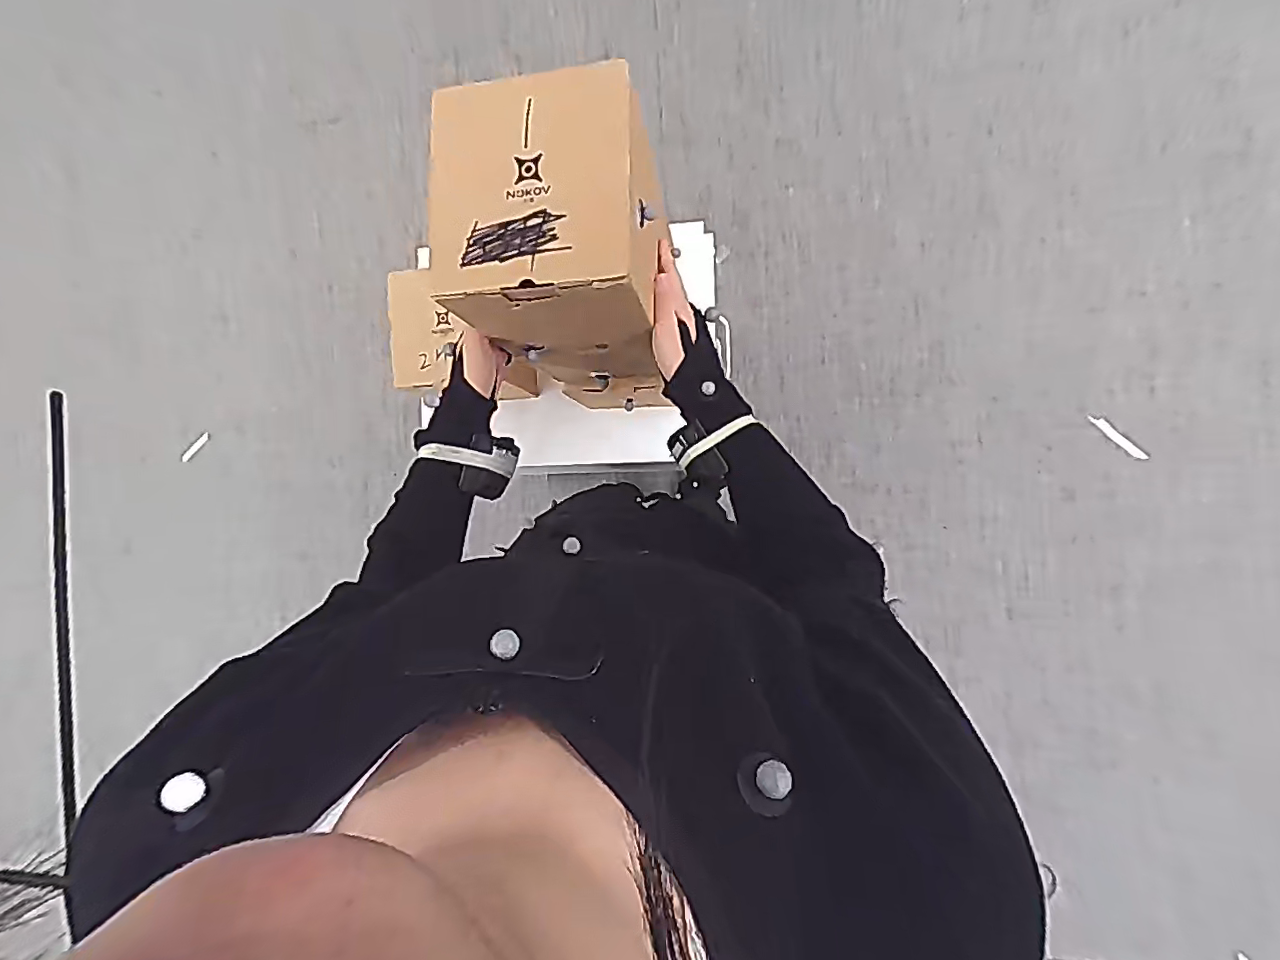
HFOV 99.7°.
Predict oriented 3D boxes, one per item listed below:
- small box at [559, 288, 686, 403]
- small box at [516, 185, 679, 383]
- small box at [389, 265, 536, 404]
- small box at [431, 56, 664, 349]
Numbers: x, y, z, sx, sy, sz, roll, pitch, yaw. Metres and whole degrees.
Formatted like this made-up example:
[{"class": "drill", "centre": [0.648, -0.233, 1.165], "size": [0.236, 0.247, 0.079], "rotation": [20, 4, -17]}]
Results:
[{"class": "small box", "centre": [-0.019, -0.210, 0.821], "size": [0.168, 0.176, 0.179], "rotation": [0, 90, 10]}, {"class": "small box", "centre": [-0.043, -0.224, 0.659], "size": [0.168, 0.176, 0.179], "rotation": [-2, 89, 10]}, {"class": "small box", "centre": [-0.271, -0.225, 0.856], "size": [0.168, 0.176, 0.179], "rotation": [-4, 89, 8]}, {"class": "small box", "centre": [-0.070, -0.226, 0.495], "size": [0.168, 0.176, 0.179], "rotation": [-2, 85, 10]}]
